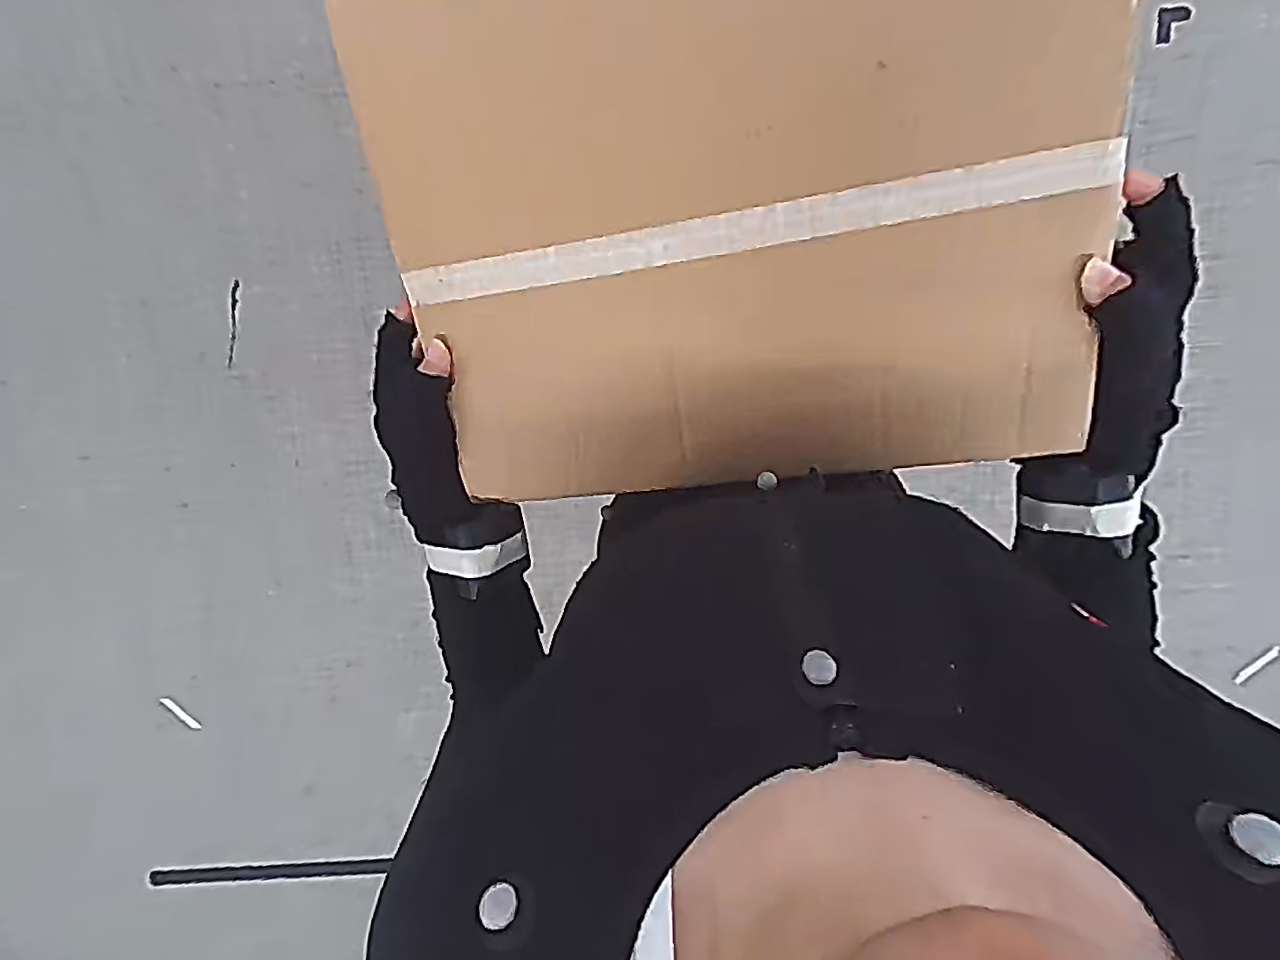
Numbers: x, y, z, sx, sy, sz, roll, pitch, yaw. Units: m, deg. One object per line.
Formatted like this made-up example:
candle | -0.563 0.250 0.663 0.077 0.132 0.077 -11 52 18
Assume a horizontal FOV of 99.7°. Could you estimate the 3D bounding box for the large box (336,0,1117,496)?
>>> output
large box | 0.067 -0.206 0.454 0.408 0.320 0.320 -5 111 11
